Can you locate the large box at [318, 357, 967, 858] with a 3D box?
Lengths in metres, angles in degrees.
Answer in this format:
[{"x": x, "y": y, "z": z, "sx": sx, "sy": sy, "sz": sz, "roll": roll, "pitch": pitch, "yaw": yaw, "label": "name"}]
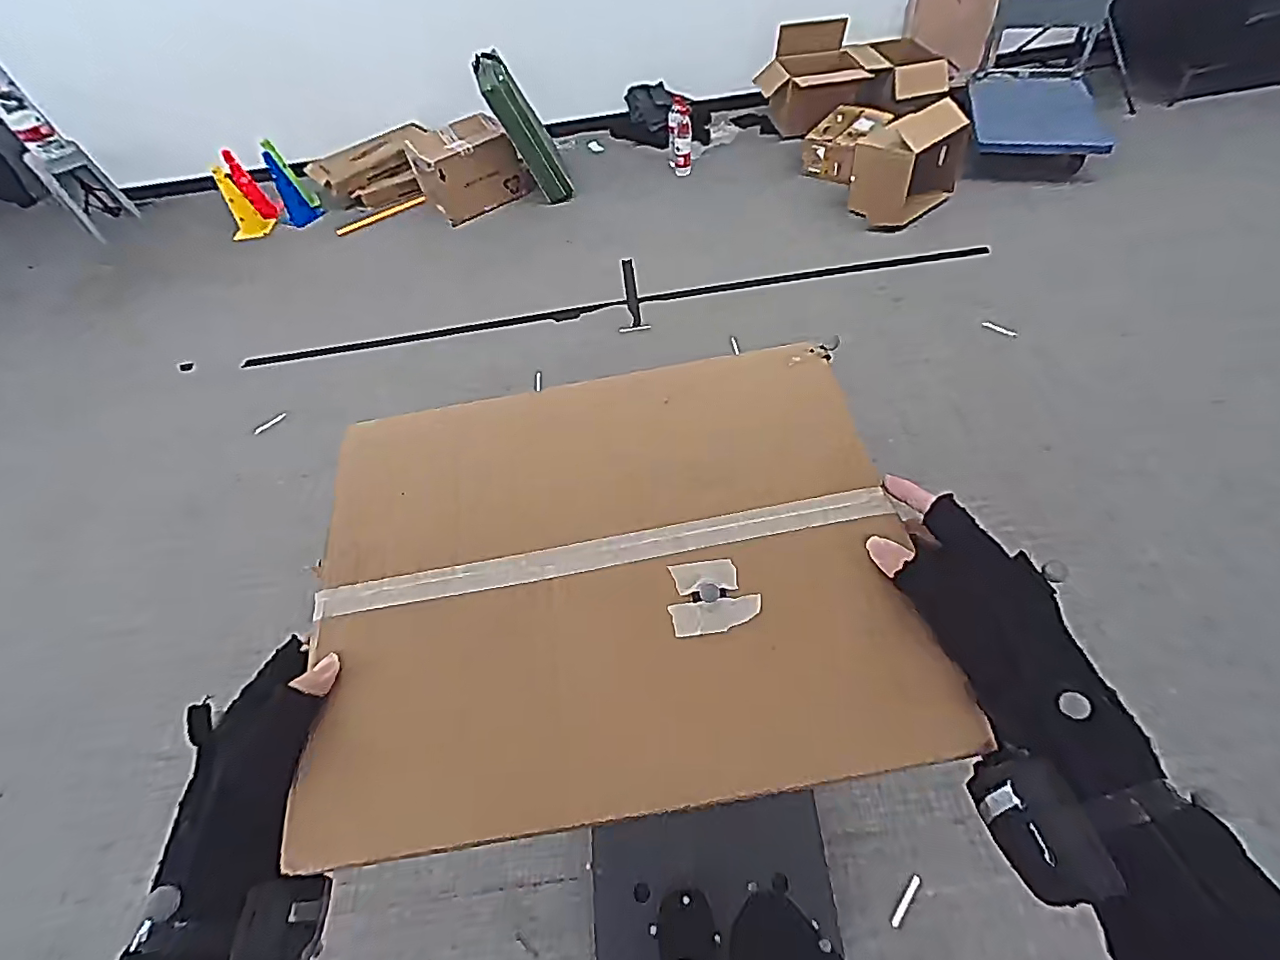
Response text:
[{"x": -0.009, "y": 0.132, "z": 0.523, "sx": 0.408, "sy": 0.320, "sz": 0.320, "roll": -10, "pitch": 60, "yaw": 0, "label": "large box"}]
